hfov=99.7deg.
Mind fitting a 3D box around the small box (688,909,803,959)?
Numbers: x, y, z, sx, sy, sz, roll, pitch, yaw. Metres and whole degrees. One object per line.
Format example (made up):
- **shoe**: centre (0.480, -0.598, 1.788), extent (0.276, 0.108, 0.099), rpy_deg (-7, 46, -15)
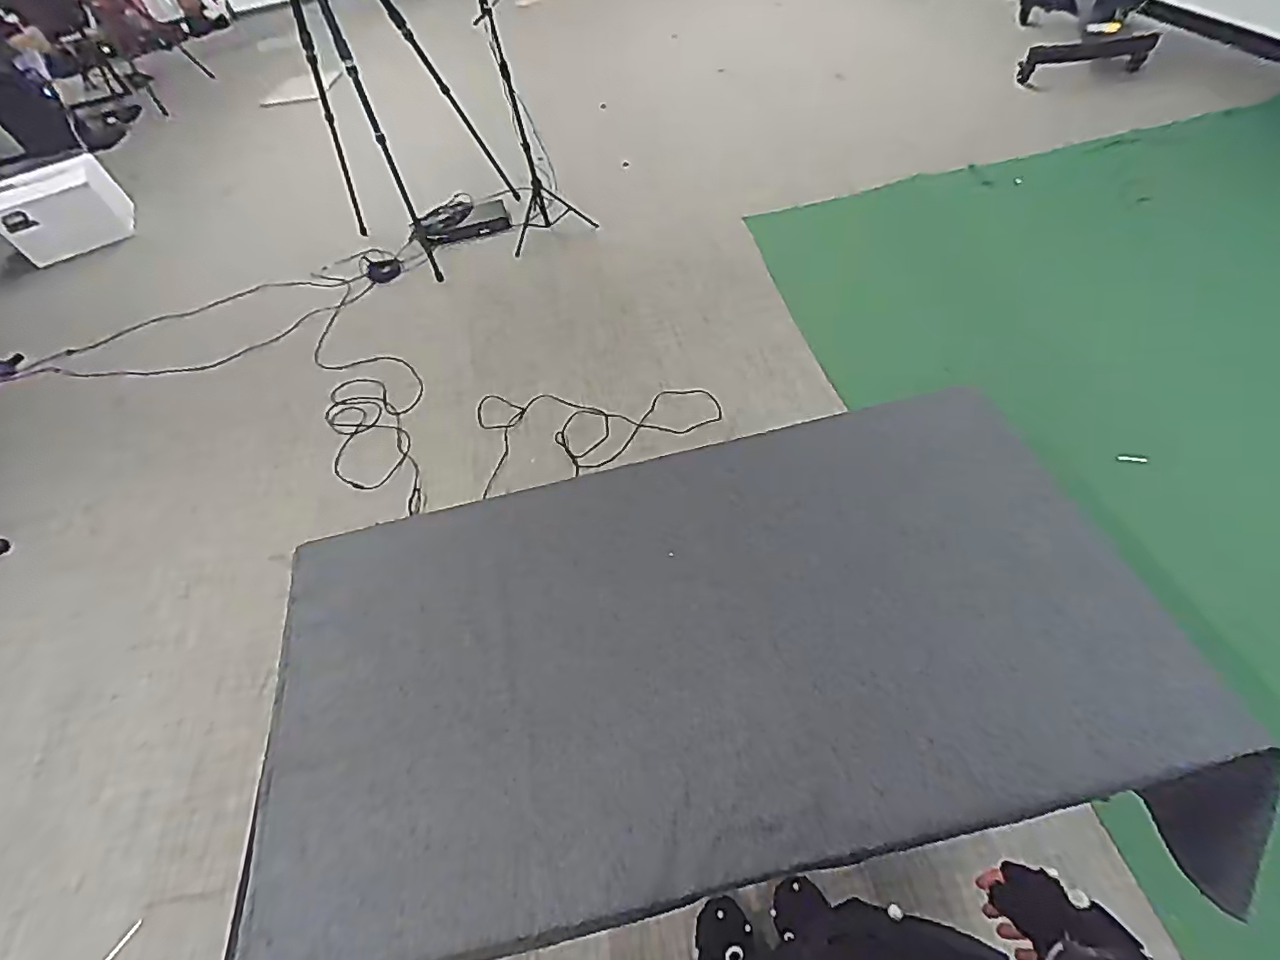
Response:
- **small box**: centre (0.187, 0.959, 1.025), extent (0.179, 0.176, 0.168), rpy_deg (8, 65, 35)
